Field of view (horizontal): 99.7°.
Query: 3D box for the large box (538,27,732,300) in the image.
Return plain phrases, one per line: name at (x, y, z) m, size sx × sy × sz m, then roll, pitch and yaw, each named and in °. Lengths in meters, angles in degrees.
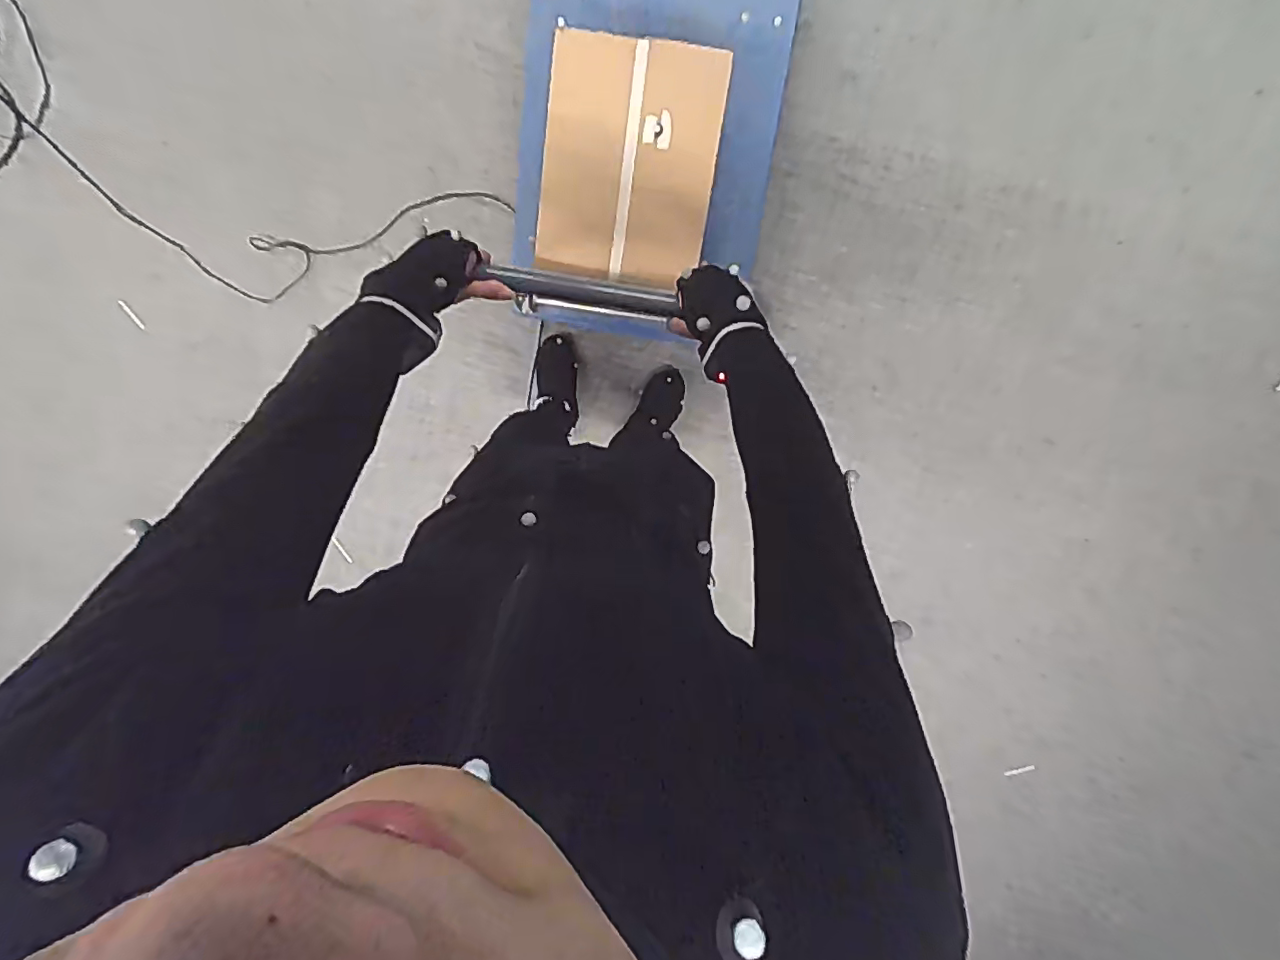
large box at (-0.006, -0.607, 1.121) m, size 0.320 × 0.320 × 0.408 m, roll 9°, pitch 106°, yaw 1°
